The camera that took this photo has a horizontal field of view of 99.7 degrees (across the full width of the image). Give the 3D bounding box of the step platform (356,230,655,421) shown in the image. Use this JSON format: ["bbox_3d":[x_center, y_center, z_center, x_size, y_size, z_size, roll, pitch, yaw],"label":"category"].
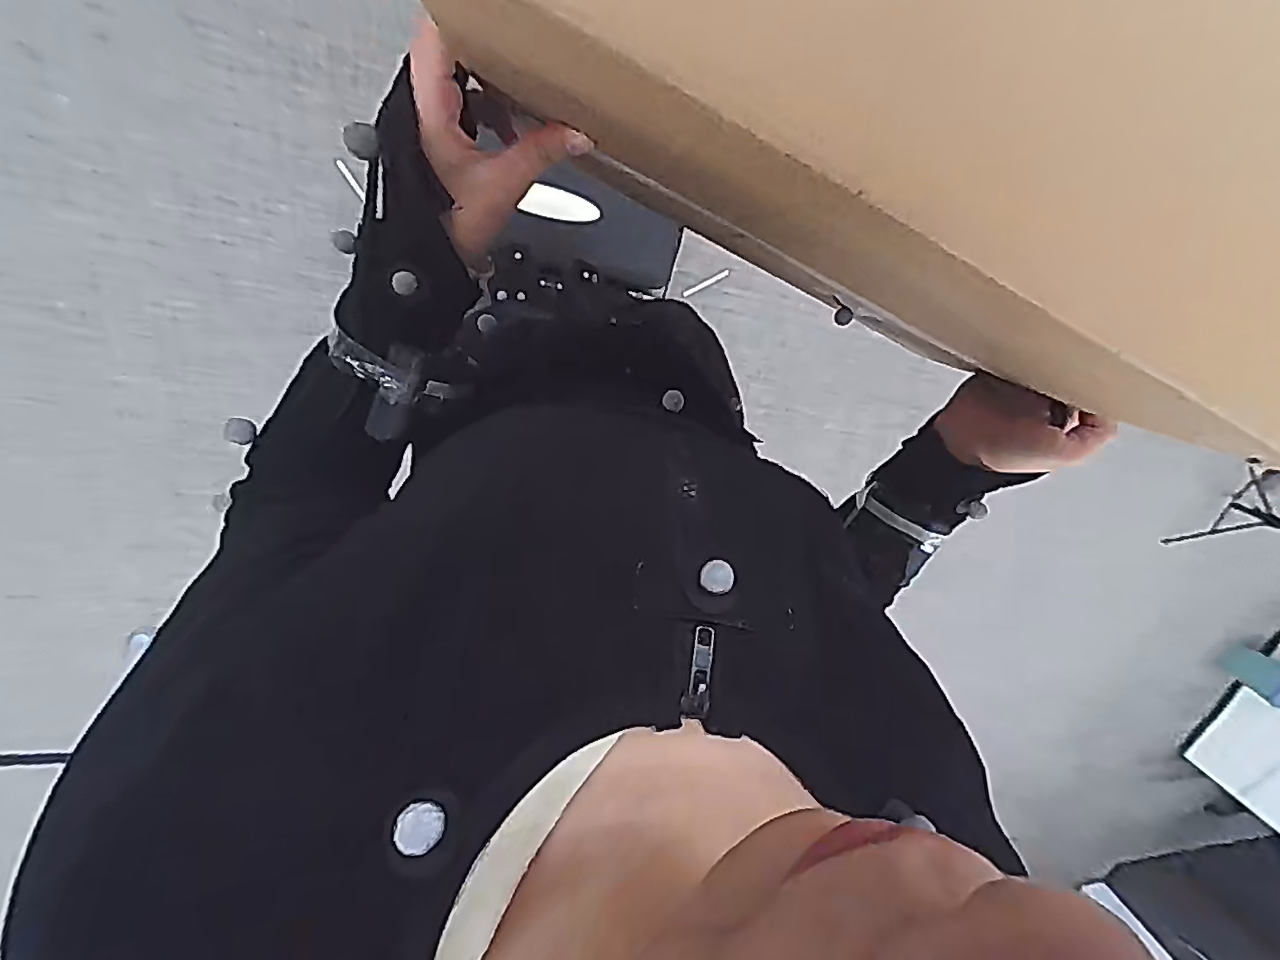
[{"bbox_3d":[-0.309,-0.361,1.323,0.684,0.204,0.286,12,113,-18],"label":"step platform"}]

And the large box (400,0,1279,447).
[{"bbox_3d":[0.148,-0.266,0.268,0.408,0.320,0.320,21,111,-13],"label":"large box"}]
